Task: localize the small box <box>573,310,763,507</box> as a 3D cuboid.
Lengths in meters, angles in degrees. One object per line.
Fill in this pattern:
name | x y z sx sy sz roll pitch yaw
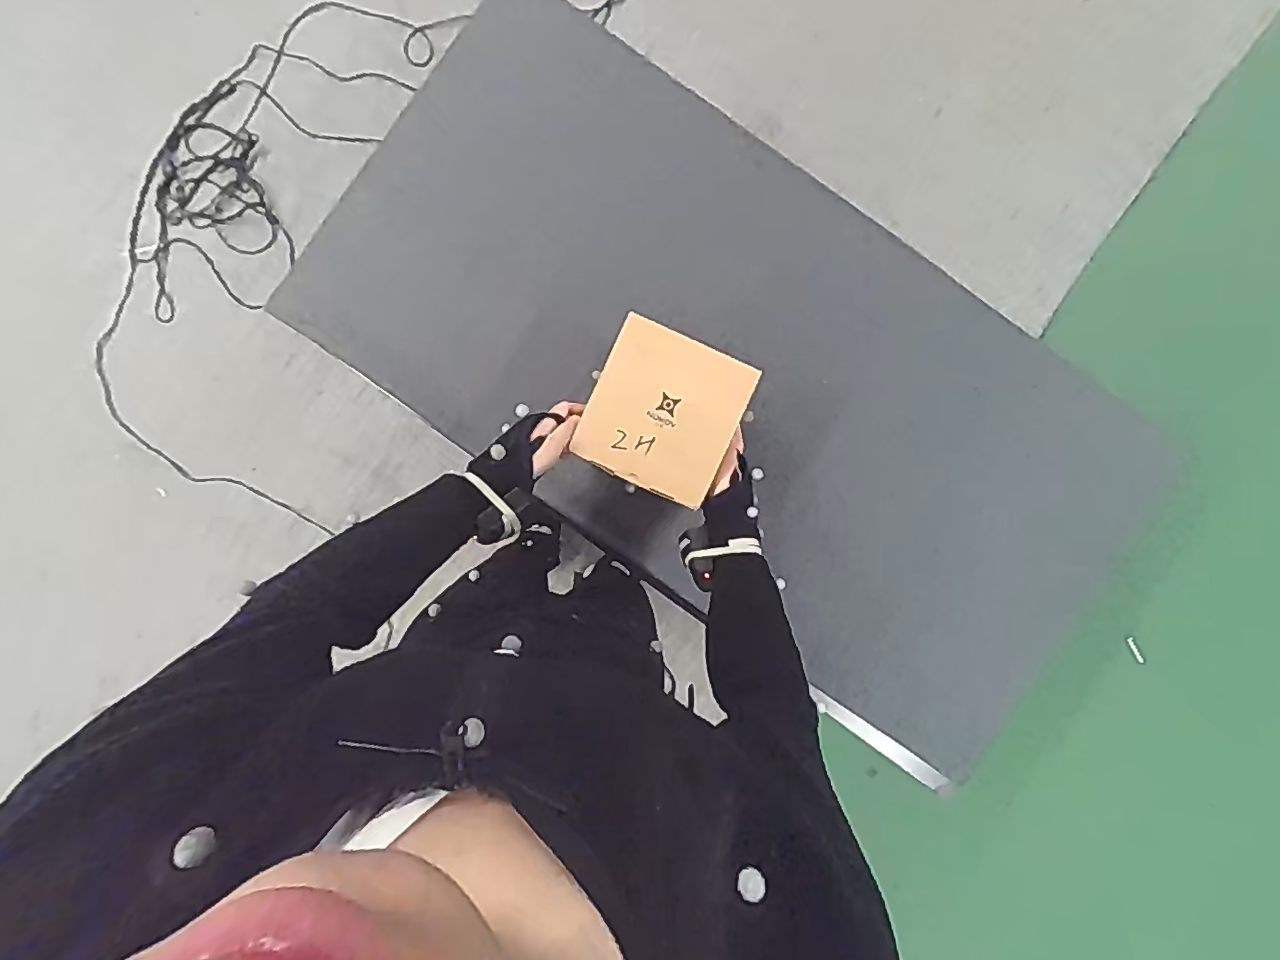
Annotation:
small box | 0.031 -0.079 0.681 0.168 0.176 0.179 23 90 1
